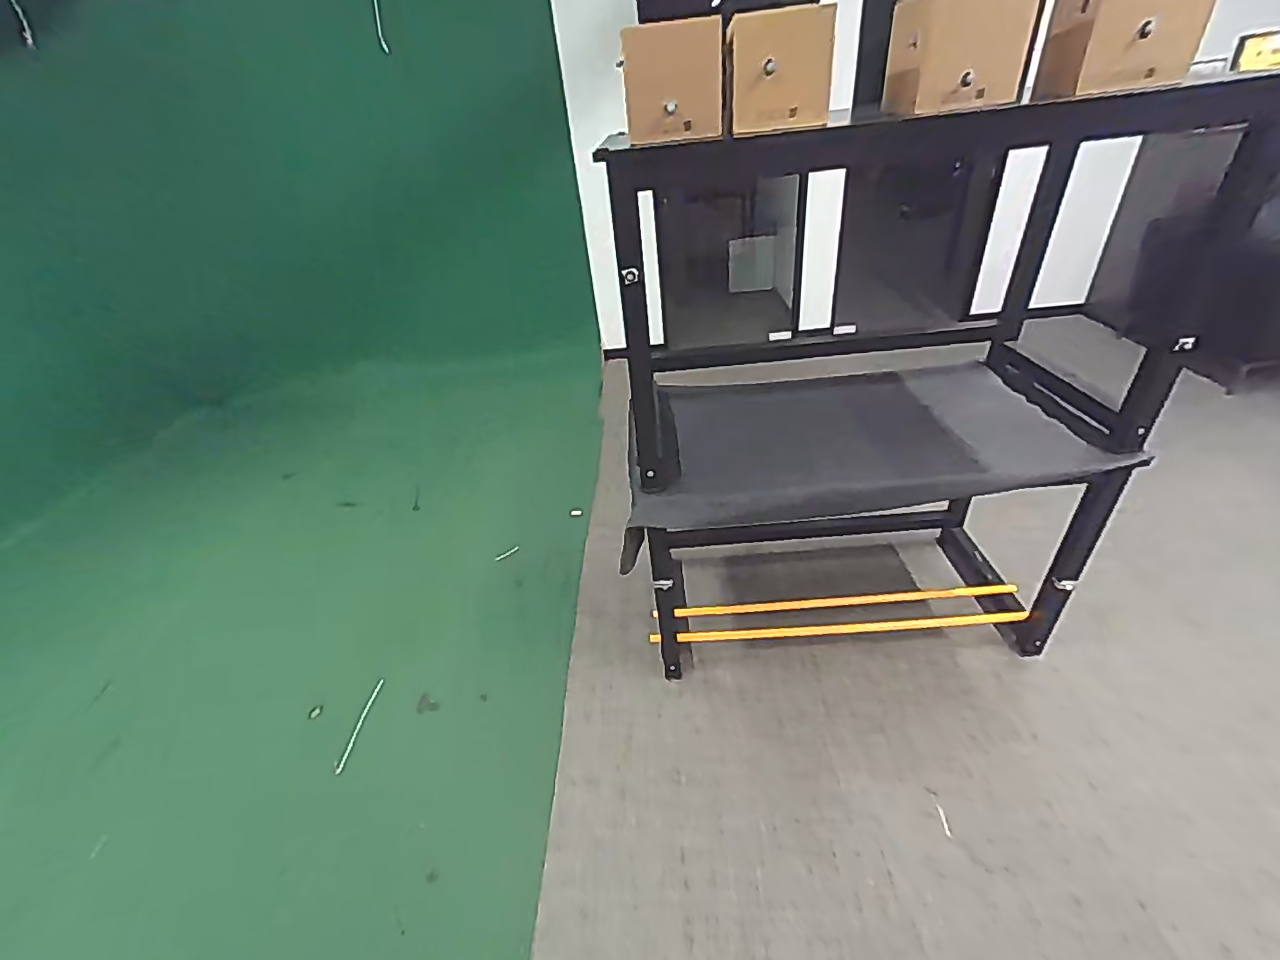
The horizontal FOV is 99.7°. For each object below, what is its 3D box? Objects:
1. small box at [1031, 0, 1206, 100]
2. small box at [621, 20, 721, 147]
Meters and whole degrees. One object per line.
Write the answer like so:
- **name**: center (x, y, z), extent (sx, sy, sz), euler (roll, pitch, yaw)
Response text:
- **small box**: center (0.814, -0.764, 0.925), extent (0.168, 0.176, 0.179), euler (1, 35, 10)
- **small box**: center (0.054, -0.718, 0.993), extent (0.168, 0.176, 0.179), euler (-5, 35, 2)
